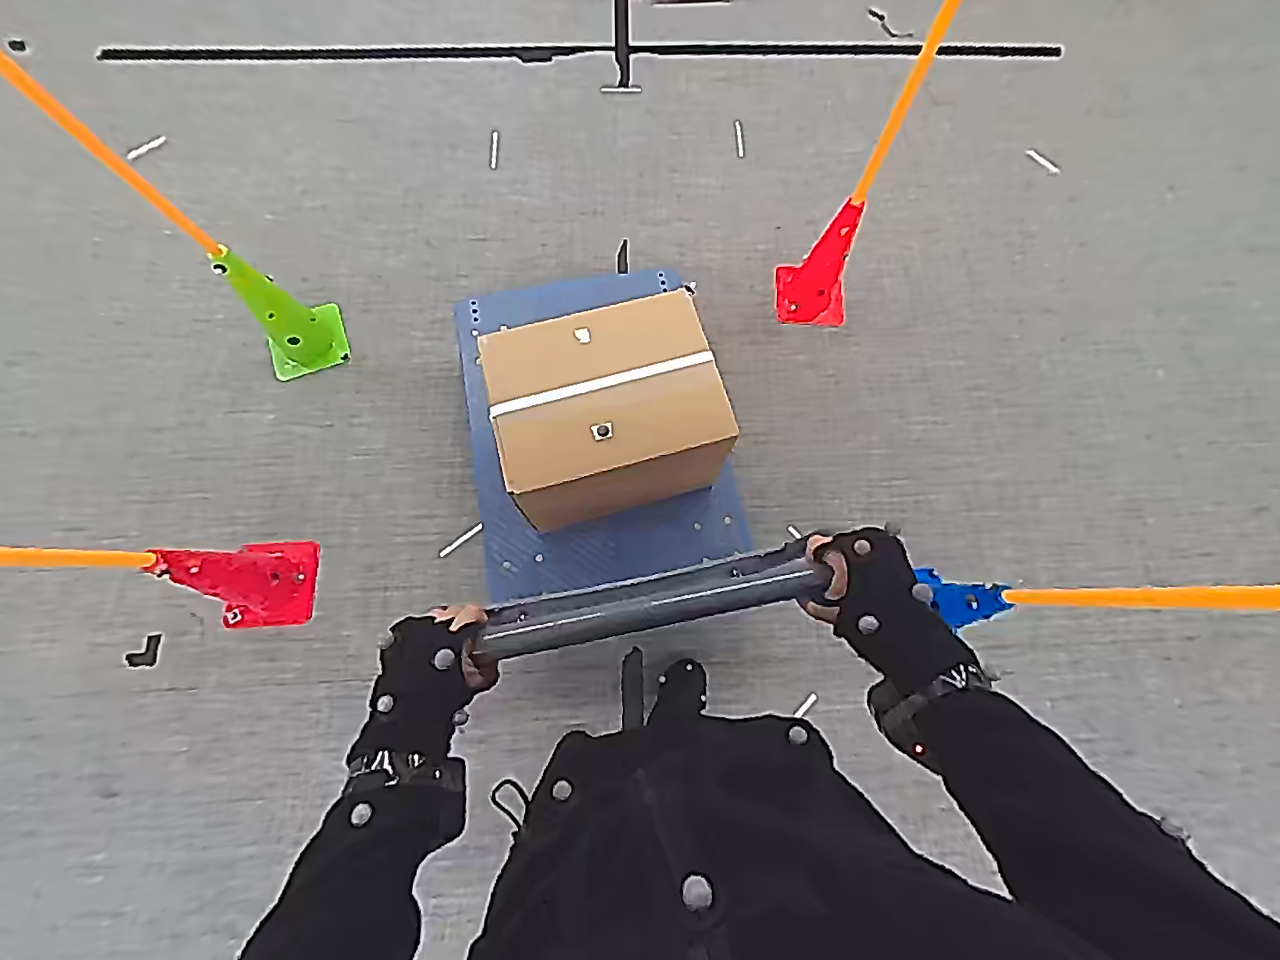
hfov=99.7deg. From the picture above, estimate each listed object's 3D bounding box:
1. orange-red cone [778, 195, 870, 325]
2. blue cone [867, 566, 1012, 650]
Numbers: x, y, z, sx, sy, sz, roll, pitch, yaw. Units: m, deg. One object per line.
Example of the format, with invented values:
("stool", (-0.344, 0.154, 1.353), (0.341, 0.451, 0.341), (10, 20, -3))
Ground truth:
("orange-red cone", (0.515, -0.600, 1.429), (0.199, 0.360, 0.198), (5, 73, -1))
("blue cone", (0.671, 0.260, 1.174), (0.193, 0.380, 0.192), (-5, 71, -4))
